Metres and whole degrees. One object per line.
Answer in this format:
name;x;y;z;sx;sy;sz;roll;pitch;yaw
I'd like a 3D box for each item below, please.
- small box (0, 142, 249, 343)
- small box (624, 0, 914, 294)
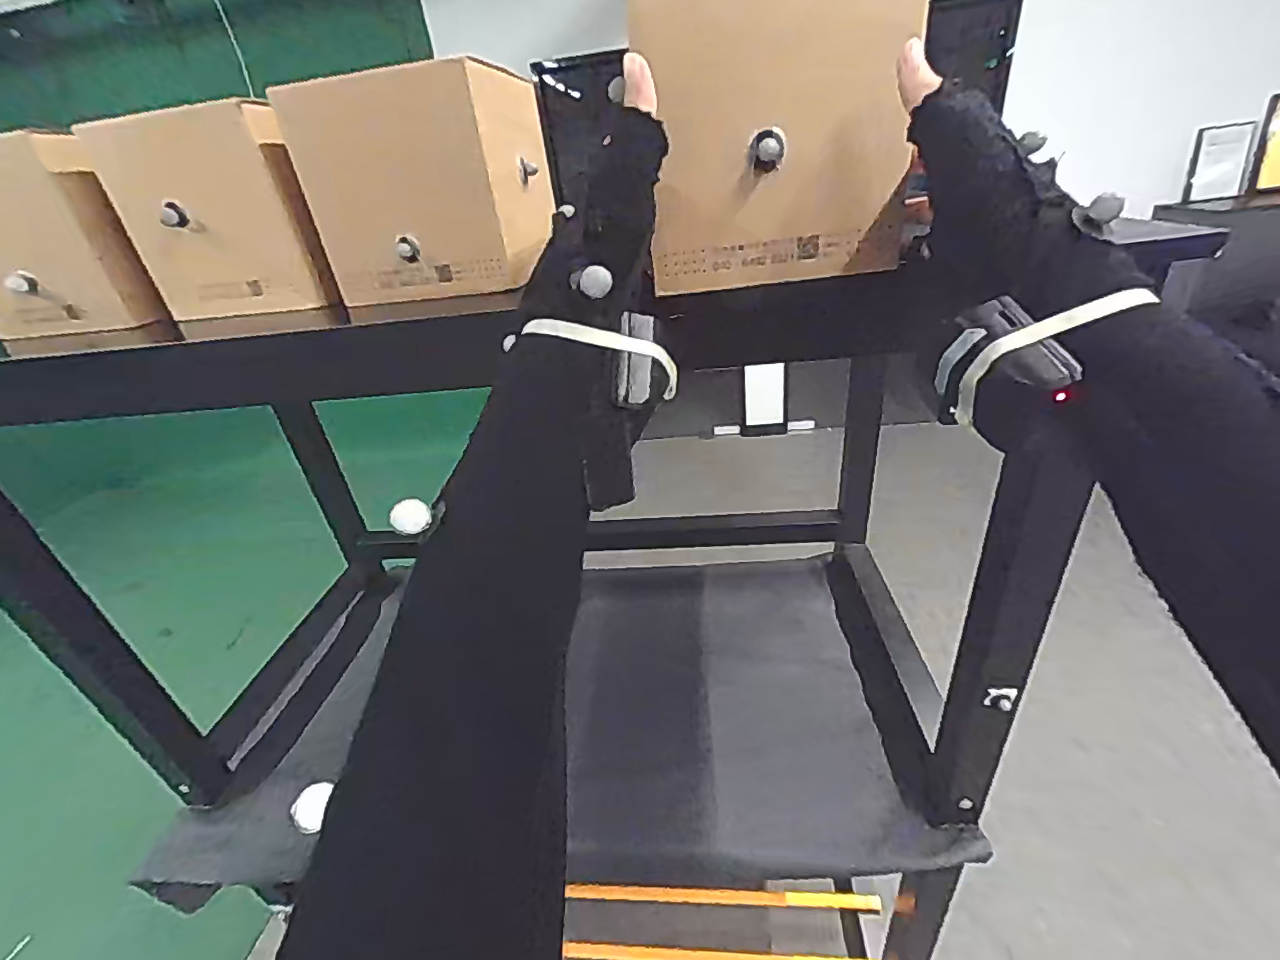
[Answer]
small box;-0.570;-0.254;0.582;0.168;0.176;0.179;-2;31;9
small box;0.085;-0.242;0.403;0.168;0.176;0.179;-4;29;5
